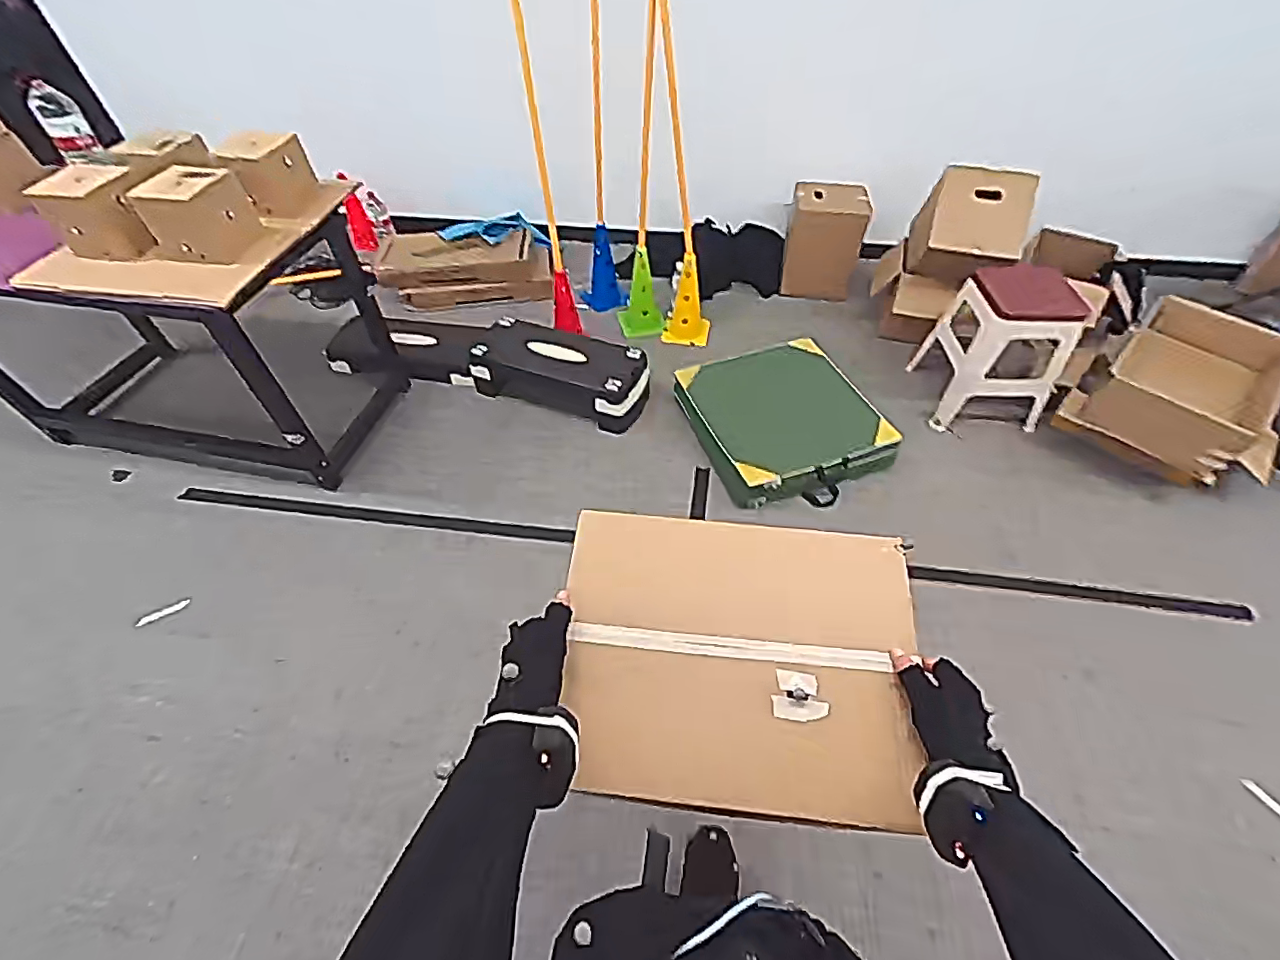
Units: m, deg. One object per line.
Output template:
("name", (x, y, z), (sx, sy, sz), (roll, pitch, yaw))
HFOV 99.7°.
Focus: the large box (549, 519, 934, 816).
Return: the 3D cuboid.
("large box", (0.112, 0.272, 0.756), (0.408, 0.320, 0.320), (4, 59, 3))
